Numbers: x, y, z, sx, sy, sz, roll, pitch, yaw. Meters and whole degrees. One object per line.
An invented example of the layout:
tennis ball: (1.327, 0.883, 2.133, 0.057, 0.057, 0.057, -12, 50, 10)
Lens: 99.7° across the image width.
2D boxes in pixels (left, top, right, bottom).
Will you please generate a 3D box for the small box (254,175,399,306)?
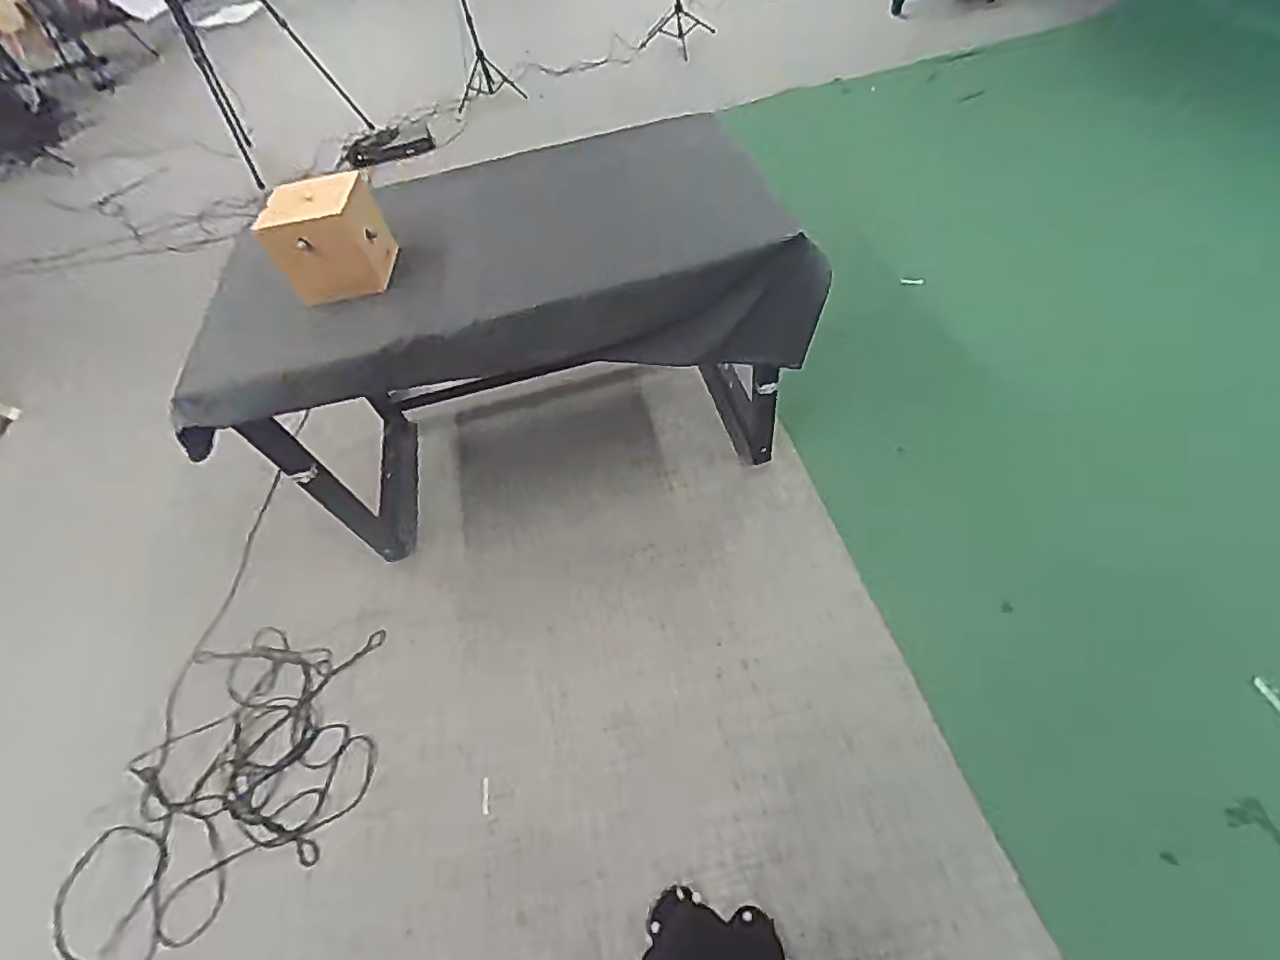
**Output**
small box: (-0.611, -0.476, 1.083, 0.179, 0.176, 0.168, -9, 54, 2)
